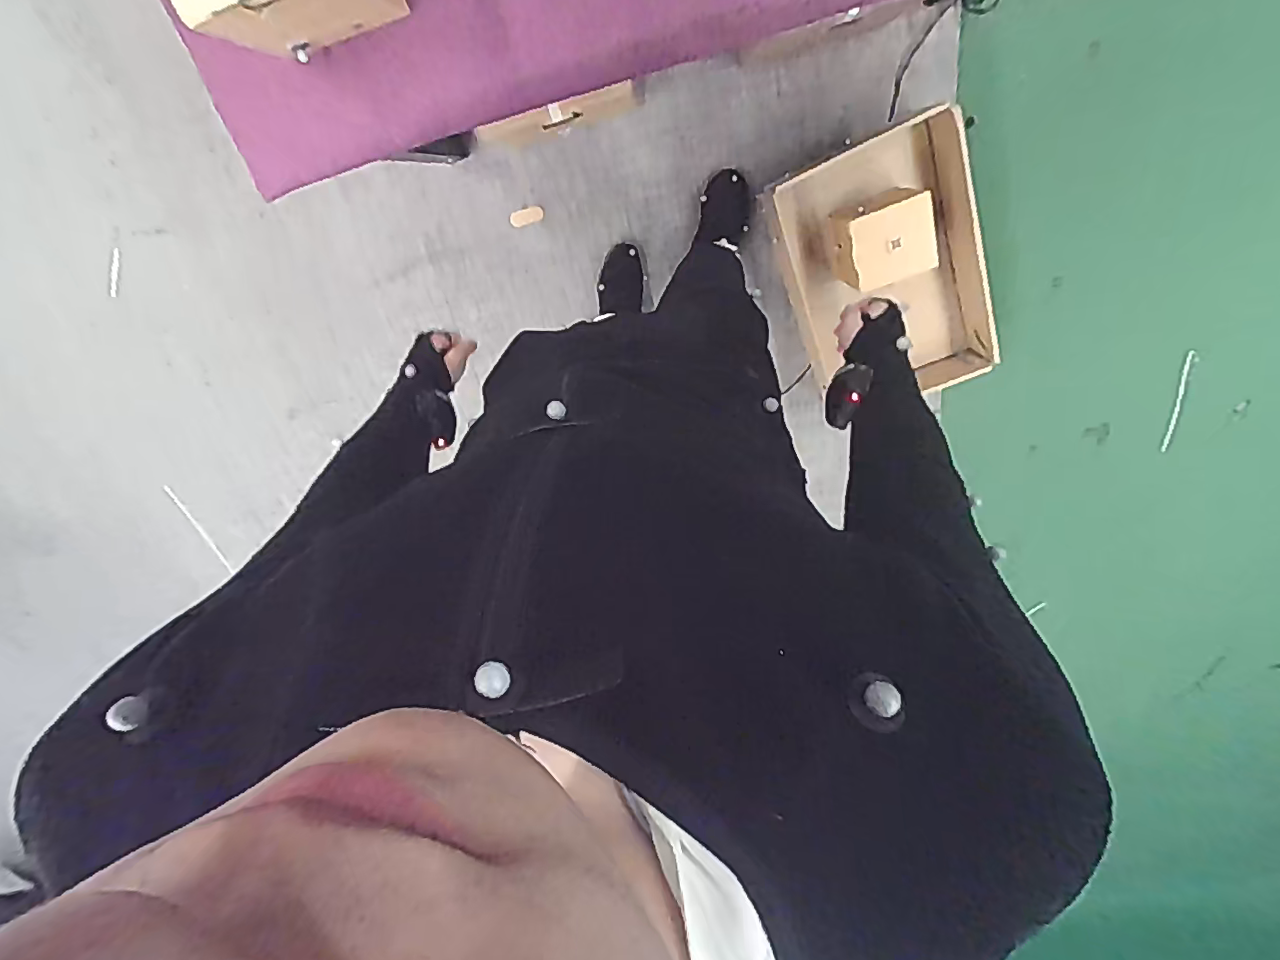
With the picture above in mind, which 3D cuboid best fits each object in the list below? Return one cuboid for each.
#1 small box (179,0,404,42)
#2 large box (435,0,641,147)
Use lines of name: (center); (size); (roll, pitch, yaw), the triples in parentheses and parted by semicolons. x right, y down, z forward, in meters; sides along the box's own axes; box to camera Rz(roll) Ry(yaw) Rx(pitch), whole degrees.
small box: (-0.365, -0.562, 0.525); (0.168, 0.176, 0.179); (-13, 117, 9)
large box: (-0.204, -0.939, 1.067); (0.320, 0.320, 0.408); (-14, 117, 9)
